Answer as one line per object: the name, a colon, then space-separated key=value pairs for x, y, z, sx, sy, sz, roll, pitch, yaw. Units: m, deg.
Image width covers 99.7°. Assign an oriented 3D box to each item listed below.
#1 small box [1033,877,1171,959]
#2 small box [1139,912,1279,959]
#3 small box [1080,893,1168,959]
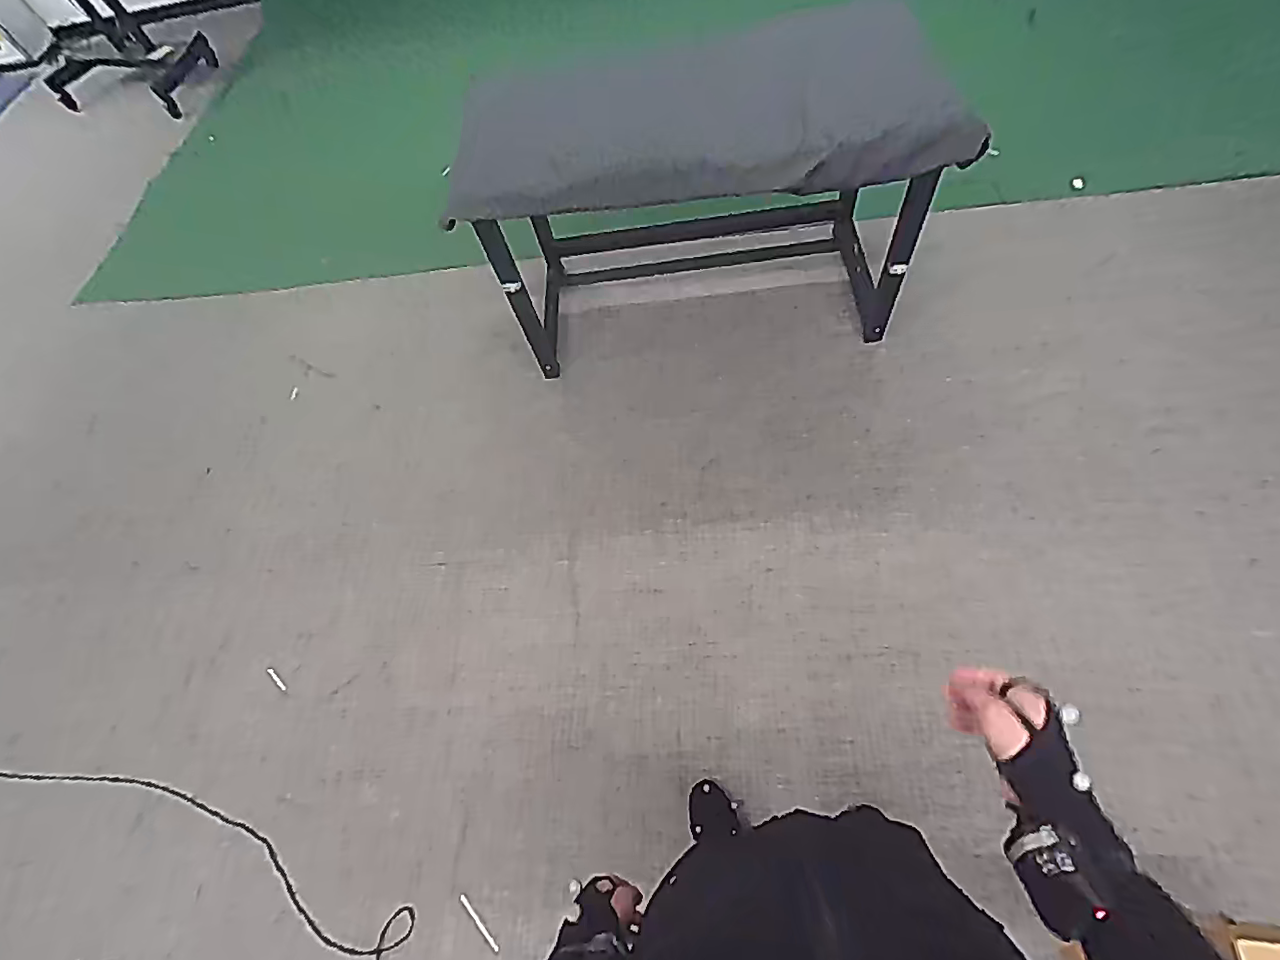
small box: x=0.915 y=0.904 z=1.056 sx=0.179 sy=0.176 sz=0.168 roll=7 pitch=63 yaw=12
small box: x=0.874 y=0.744 z=0.774 sx=0.179 sy=0.176 sz=0.168 roll=1 pitch=62 yaw=8
small box: x=0.896 y=0.829 z=0.911 sx=0.179 sy=0.176 sz=0.168 roll=8 pitch=63 yaw=12
